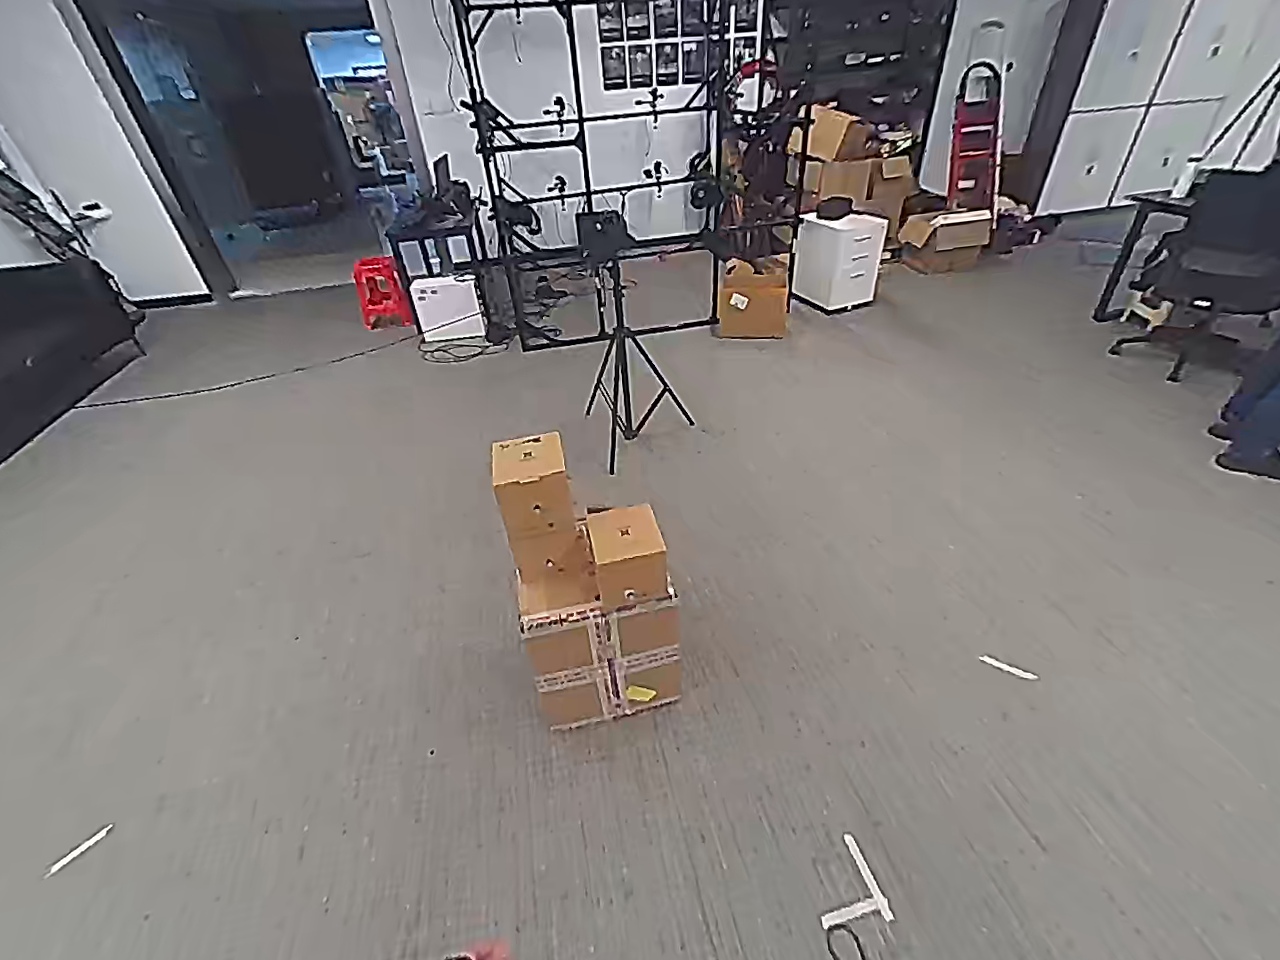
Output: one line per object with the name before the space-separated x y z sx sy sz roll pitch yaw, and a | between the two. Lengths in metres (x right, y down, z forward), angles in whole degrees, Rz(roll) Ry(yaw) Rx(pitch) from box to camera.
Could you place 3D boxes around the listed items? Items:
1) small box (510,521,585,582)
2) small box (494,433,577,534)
small box | -0.246 0.138 1.424 0.168 0.176 0.179 -13 39 -7
small box | -0.253 0.014 1.315 0.168 0.176 0.179 -12 40 -7
